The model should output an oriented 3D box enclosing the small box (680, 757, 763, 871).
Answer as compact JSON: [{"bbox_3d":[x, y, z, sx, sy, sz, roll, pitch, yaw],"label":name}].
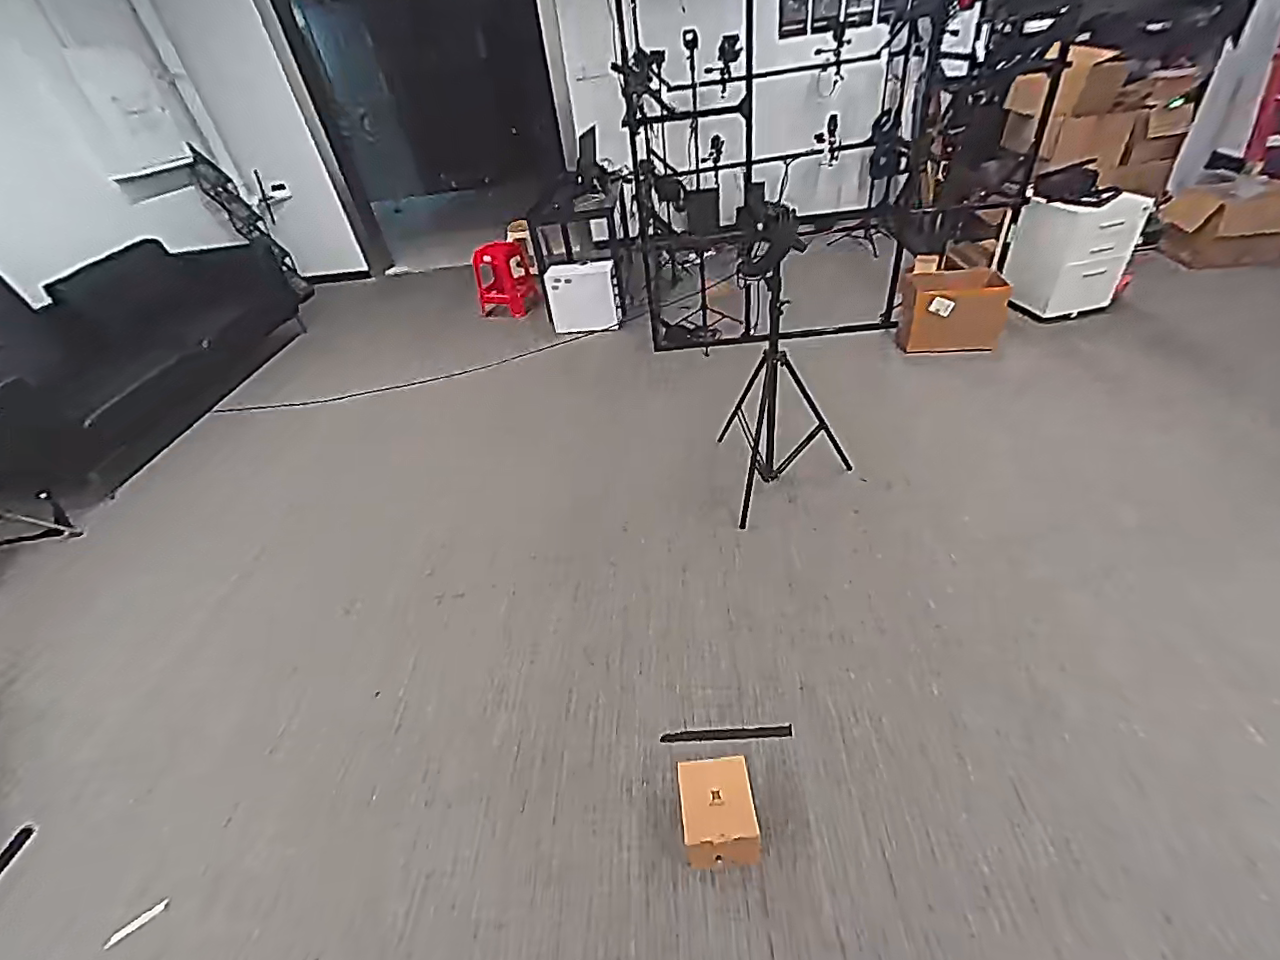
[{"bbox_3d":[0.188,0.791,1.282,0.168,0.176,0.179,-8,39,1],"label":"small box"}]
